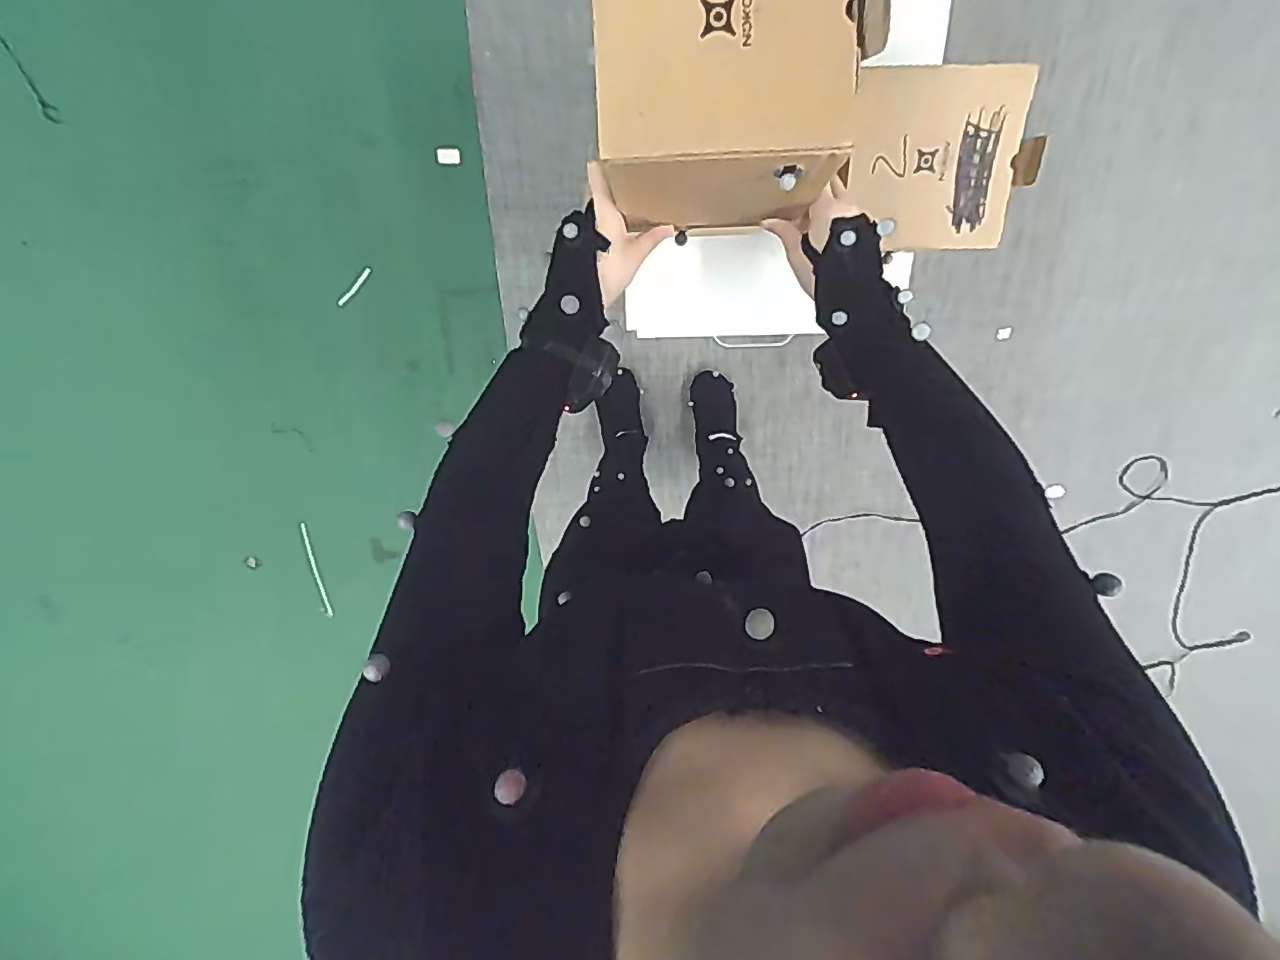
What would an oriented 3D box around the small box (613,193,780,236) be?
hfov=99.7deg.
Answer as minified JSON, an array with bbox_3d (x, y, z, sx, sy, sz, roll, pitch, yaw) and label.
[{"bbox_3d":[0.056,-0.374,0.614,0.179,0.176,0.168,-3,112,-2],"label":"small box"}]

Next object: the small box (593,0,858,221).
[{"bbox_3d":[0.059,-0.321,0.435,0.179,0.176,0.168,-2,100,2],"label":"small box"}]
